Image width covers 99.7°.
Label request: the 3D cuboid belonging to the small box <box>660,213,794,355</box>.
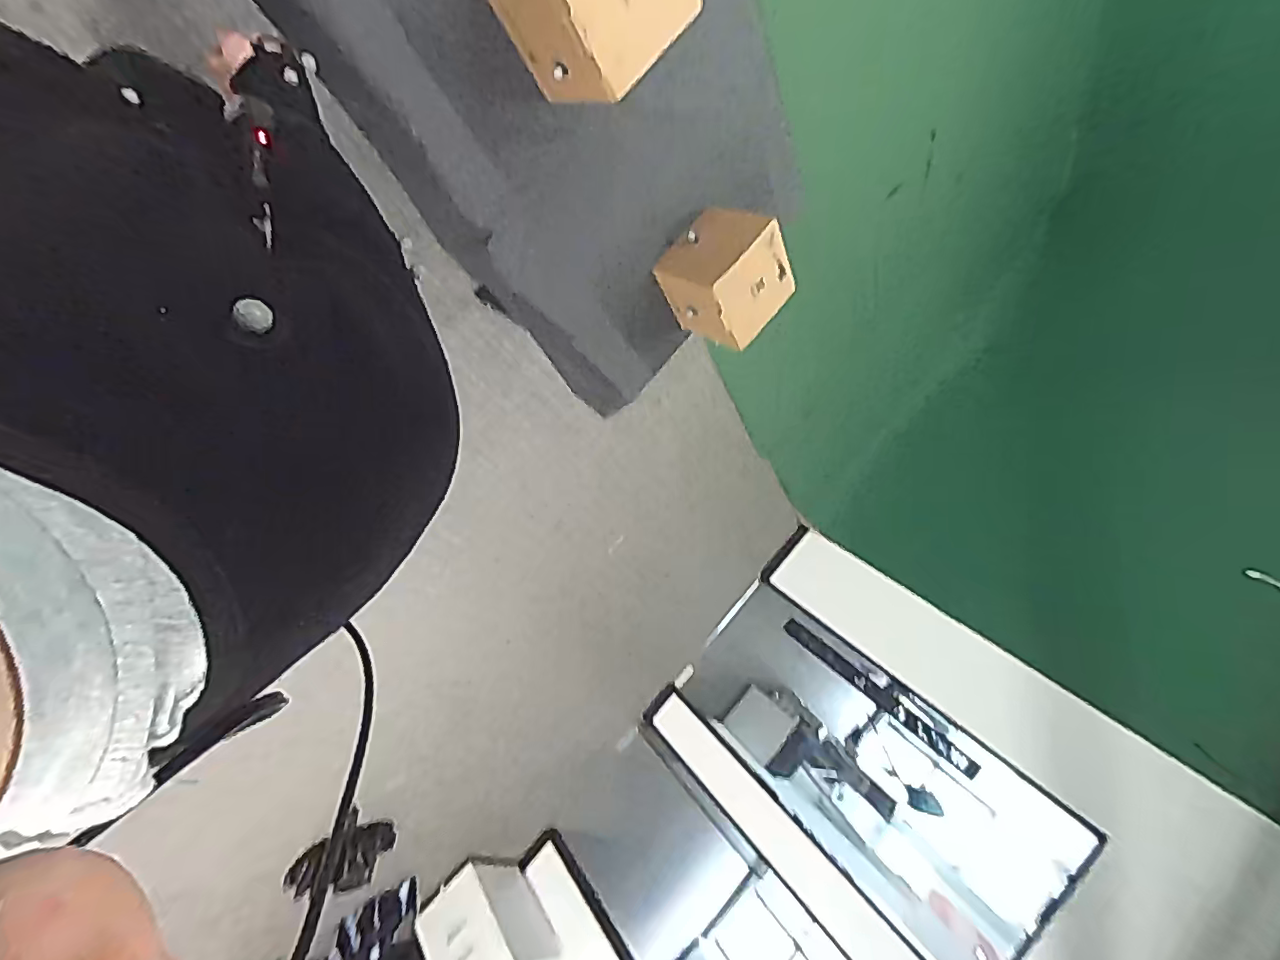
[{"bbox_3d":[0.160,-0.377,1.034,0.179,0.176,0.168,-48,140,-6],"label":"small box"}]

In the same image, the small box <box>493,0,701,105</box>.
[{"bbox_3d":[-0.062,-0.598,0.662,0.179,0.176,0.168,-52,142,-5],"label":"small box"}]
